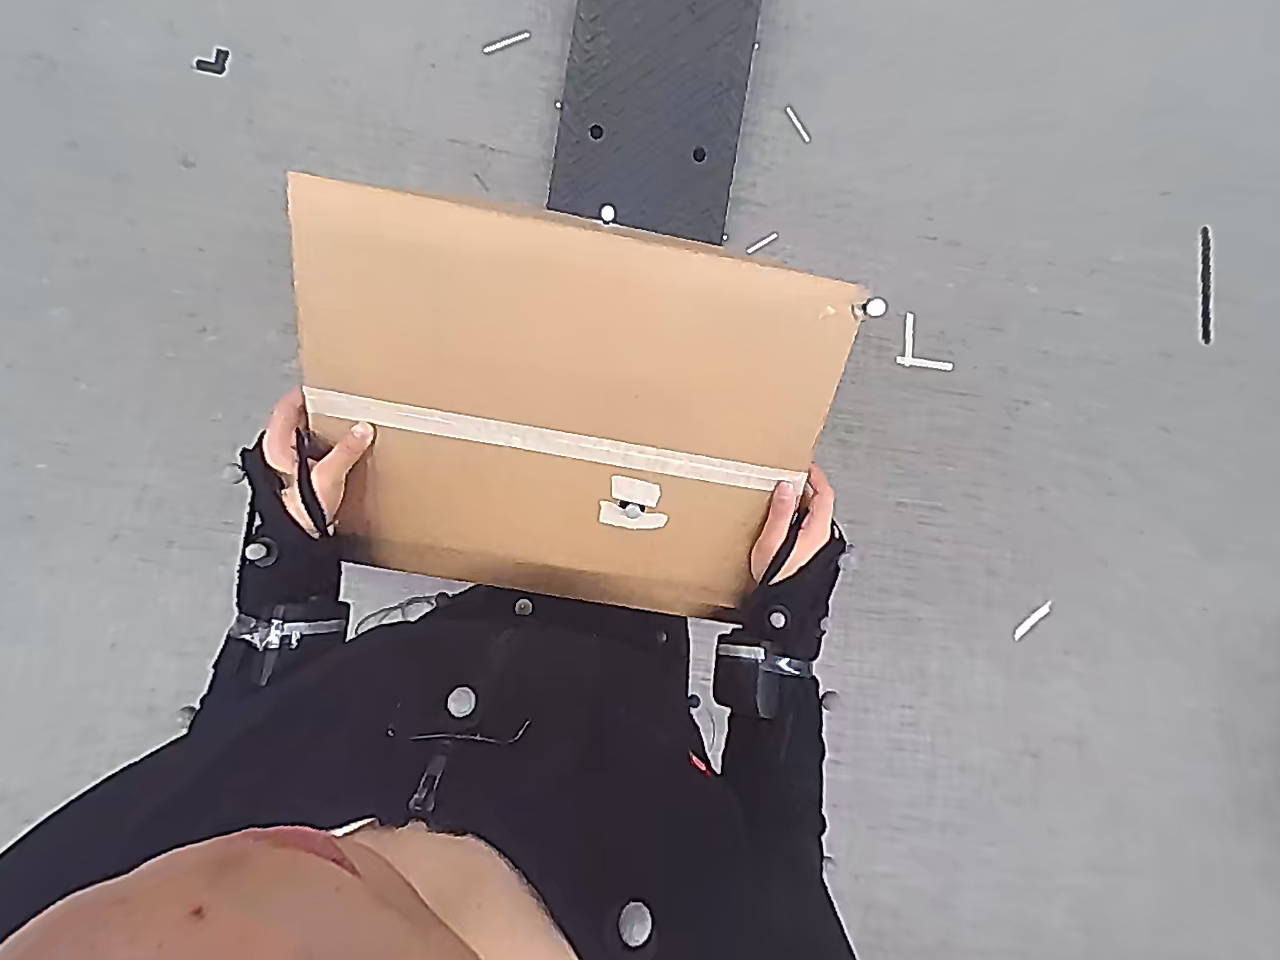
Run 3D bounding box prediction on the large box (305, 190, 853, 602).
[{"bbox_3d":[-0.062,-0.105,0.584,0.408,0.320,0.320,8,117,-5],"label":"large box"}]
